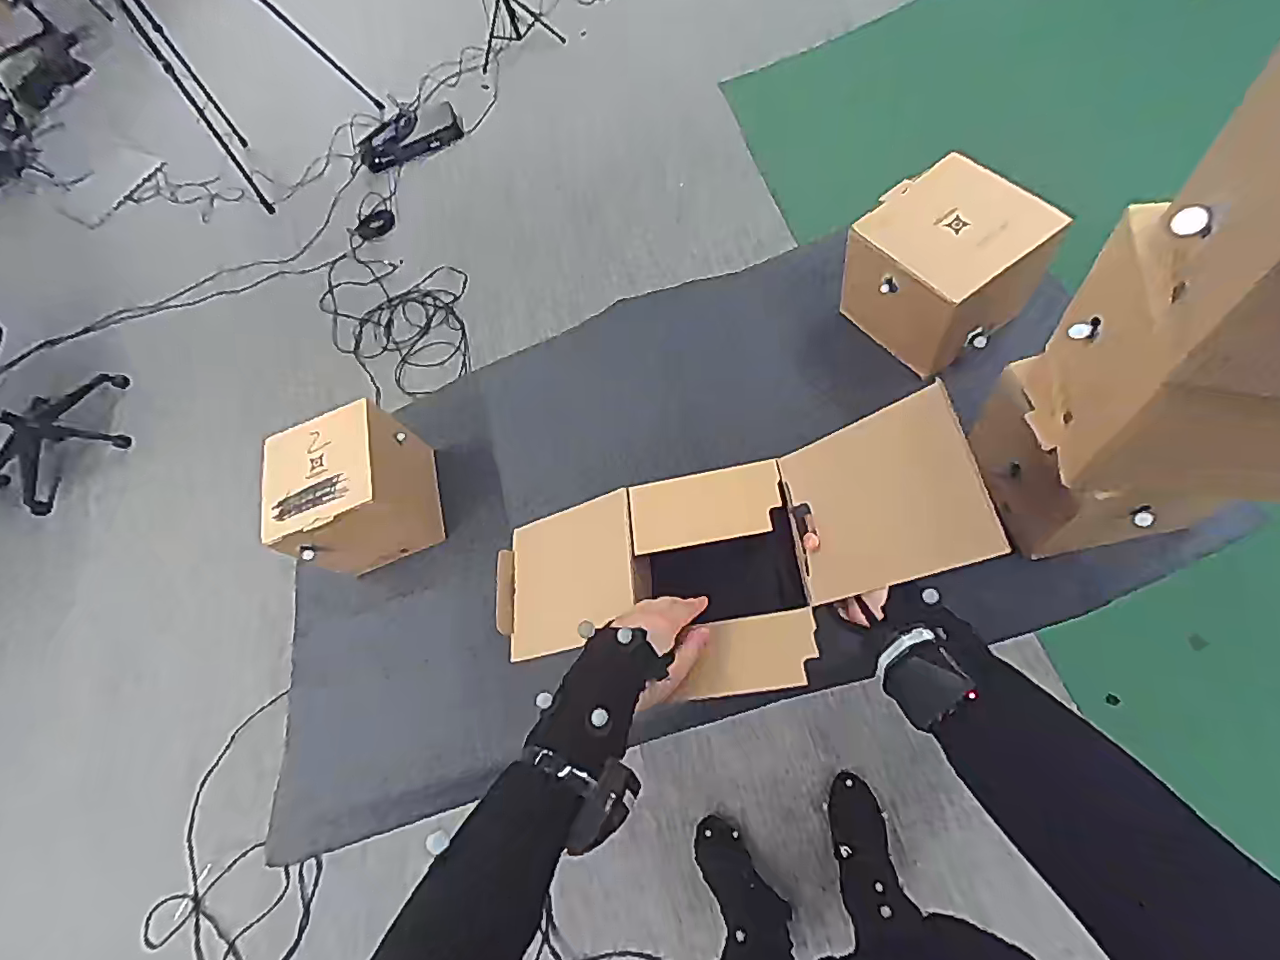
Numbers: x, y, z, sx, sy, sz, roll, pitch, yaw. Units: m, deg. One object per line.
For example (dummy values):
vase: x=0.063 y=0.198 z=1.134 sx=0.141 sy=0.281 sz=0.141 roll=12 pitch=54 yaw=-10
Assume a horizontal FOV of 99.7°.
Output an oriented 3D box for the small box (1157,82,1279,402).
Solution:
small box: x=0.419 y=-0.142 z=0.269 sx=0.179 sy=0.176 sz=0.168 roll=15 pitch=68 yaw=23

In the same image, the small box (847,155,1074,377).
small box: x=0.396 y=-0.271 z=0.711 sx=0.168 sy=0.176 sz=0.179 roll=-36 pitch=64 yaw=1

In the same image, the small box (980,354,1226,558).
small box: x=0.492 y=-0.031 z=0.572 sx=0.179 sy=0.176 sz=0.168 roll=-15 pitch=60 yaw=10

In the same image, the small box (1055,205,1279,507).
small box: x=0.457 y=-0.090 z=0.423 sx=0.179 sy=0.176 sz=0.168 roll=5 pitch=65 yaw=18
